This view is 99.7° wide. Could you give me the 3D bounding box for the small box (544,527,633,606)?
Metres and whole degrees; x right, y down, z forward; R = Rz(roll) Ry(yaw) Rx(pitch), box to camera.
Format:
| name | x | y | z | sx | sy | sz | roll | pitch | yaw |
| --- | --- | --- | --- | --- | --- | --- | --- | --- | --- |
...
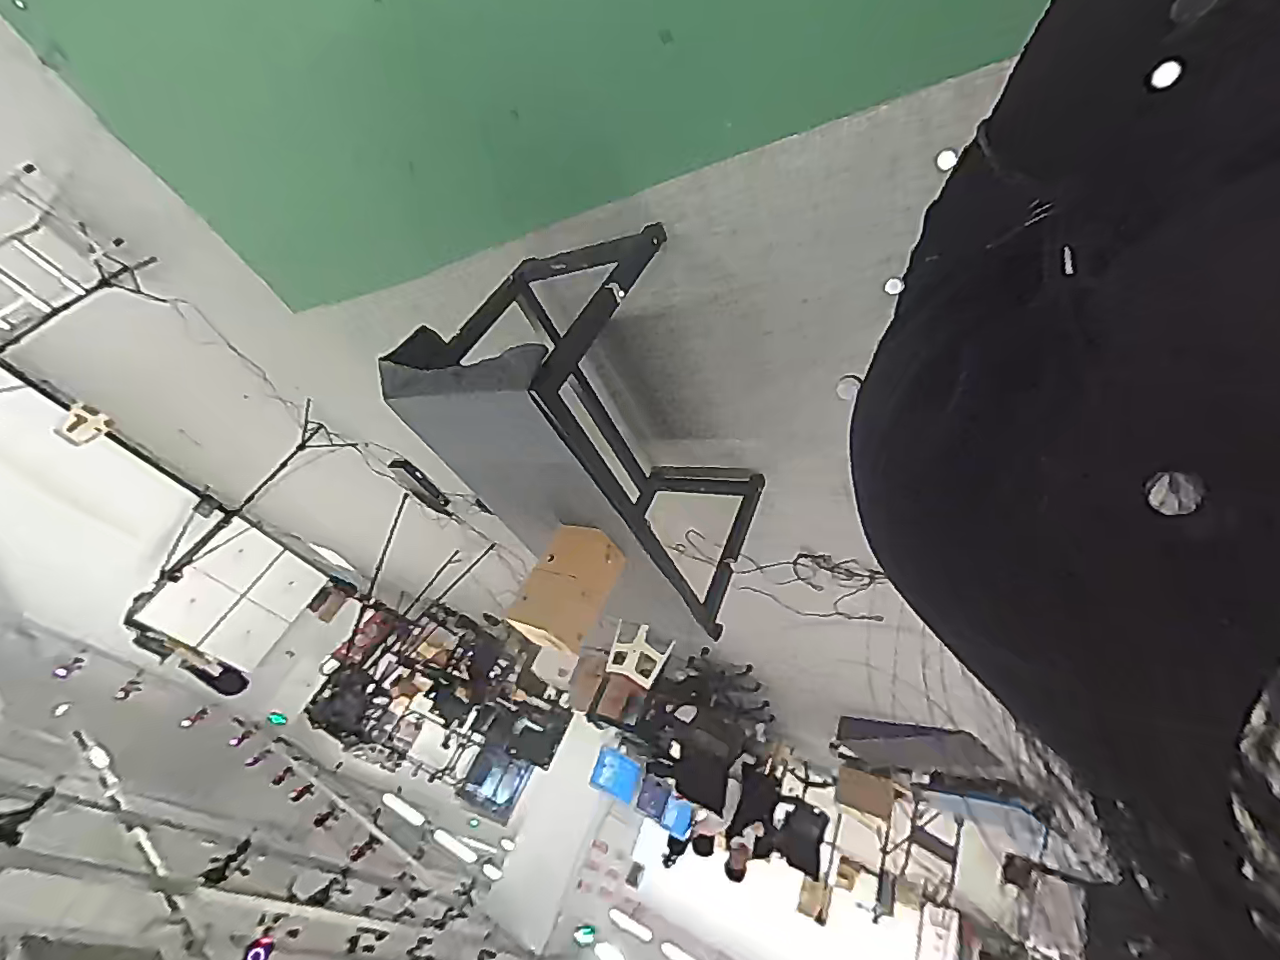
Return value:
| name | x | y | z | sx | sy | sz | roll | pitch | yaw |
| --- | --- | --- | --- | --- | --- | --- | --- | --- | --- |
| small box | -0.151 | 0.258 | 1.648 | 0.179 | 0.176 | 0.168 | 2 | 142 | 37 |
